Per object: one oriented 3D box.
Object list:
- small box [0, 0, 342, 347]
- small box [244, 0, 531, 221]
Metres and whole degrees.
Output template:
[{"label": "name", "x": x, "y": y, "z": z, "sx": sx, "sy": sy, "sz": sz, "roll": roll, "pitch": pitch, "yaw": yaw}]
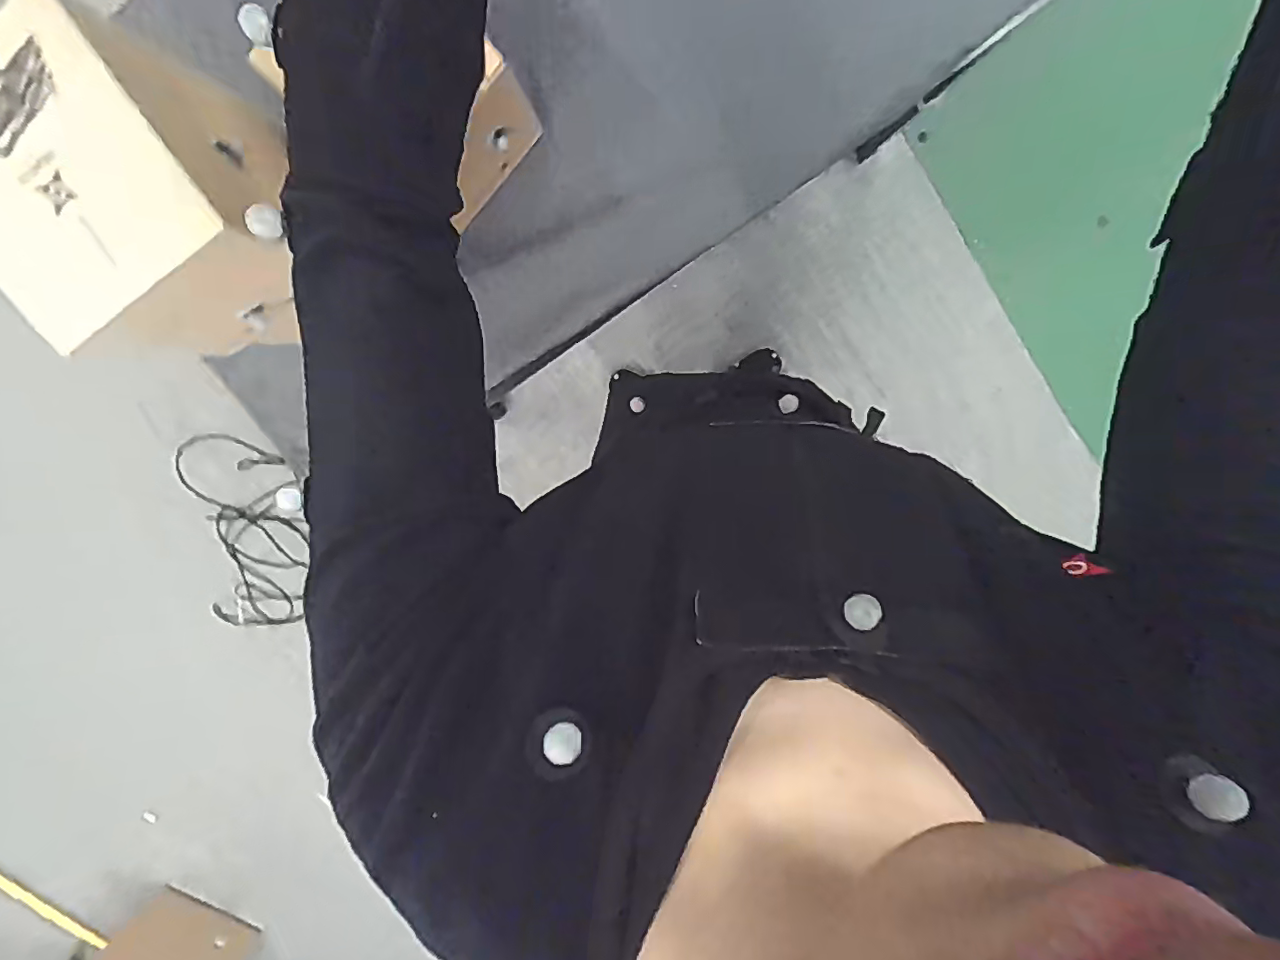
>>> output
[{"label": "small box", "x": -0.395, "y": -0.222, "z": 0.439, "sx": 0.168, "sy": 0.176, "sz": 0.179, "roll": -32, "pitch": 102, "yaw": 8}, {"label": "small box", "x": -0.238, "y": -0.399, "z": 0.562, "sx": 0.179, "sy": 0.176, "sz": 0.168, "roll": 44, "pitch": 100, "yaw": -8}]
